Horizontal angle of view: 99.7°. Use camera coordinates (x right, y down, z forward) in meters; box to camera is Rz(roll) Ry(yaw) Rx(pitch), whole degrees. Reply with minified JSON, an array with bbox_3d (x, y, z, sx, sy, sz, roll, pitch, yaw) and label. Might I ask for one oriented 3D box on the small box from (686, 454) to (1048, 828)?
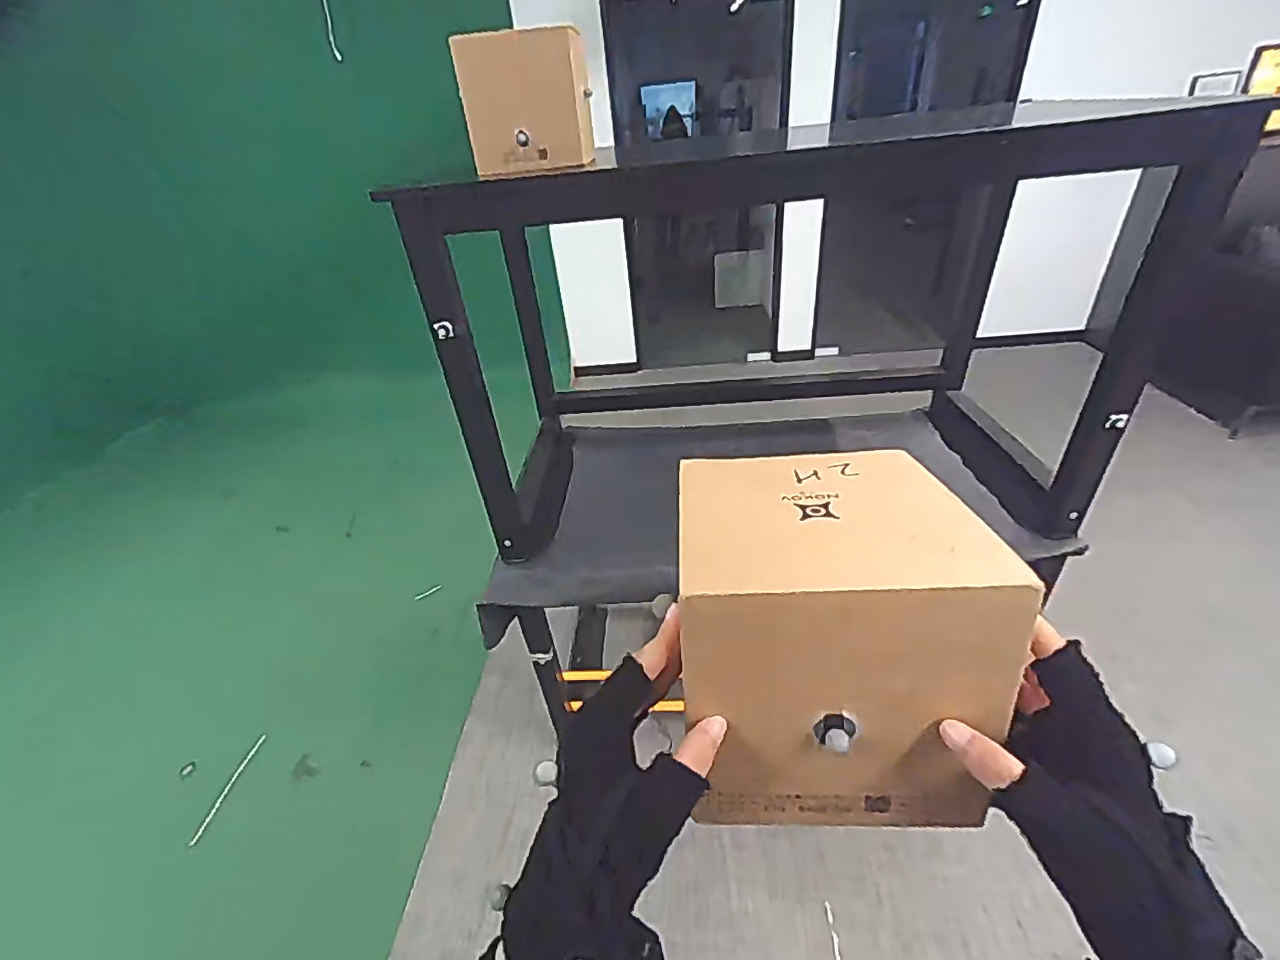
[{"bbox_3d":[0.117,0.094,0.355,0.168,0.176,0.179,-2,23,5],"label":"small box"}]
